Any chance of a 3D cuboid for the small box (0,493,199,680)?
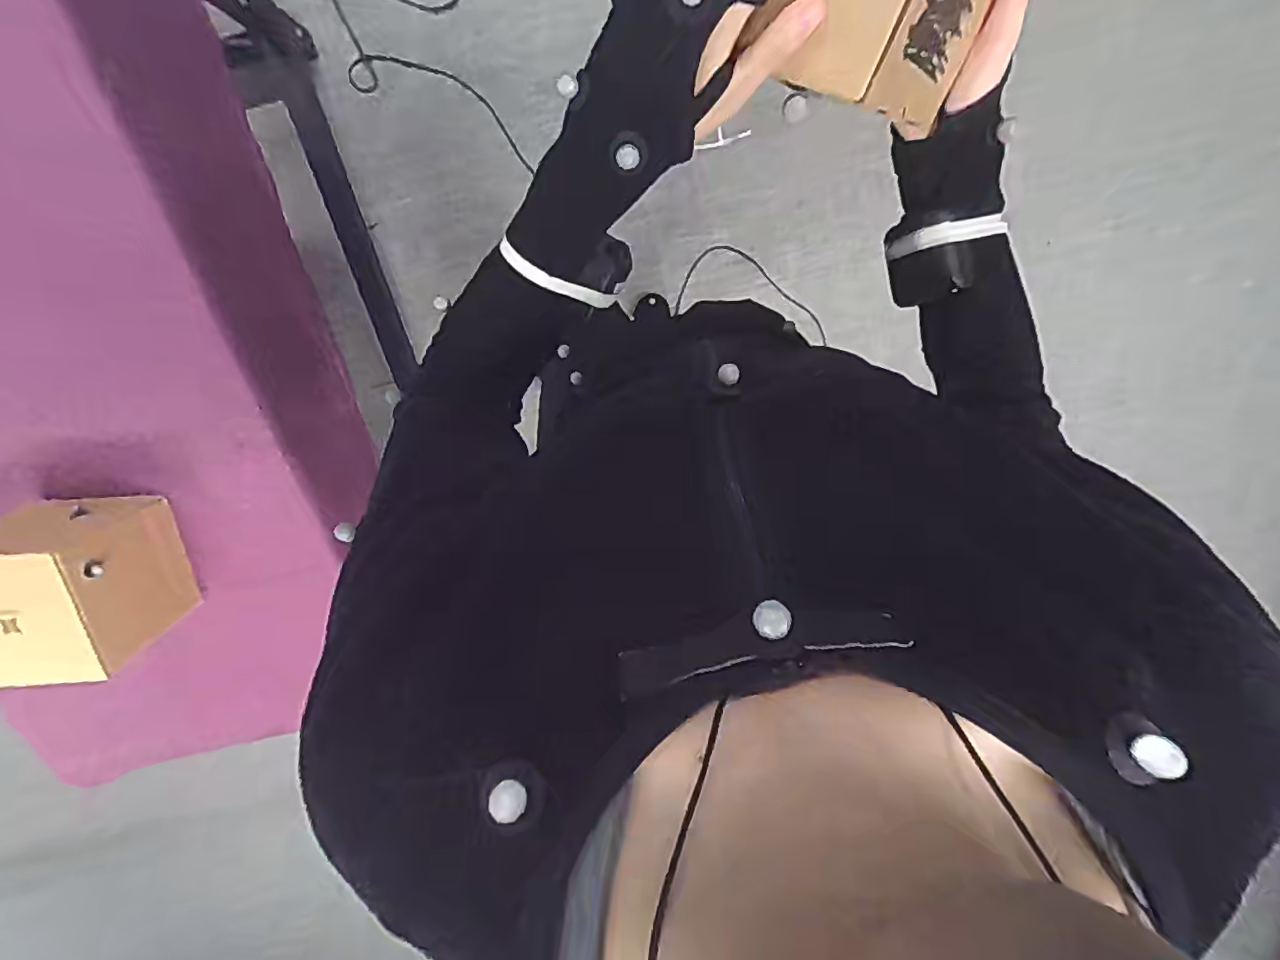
[{"bbox_3d":[-0.722,0.130,0.693,0.168,0.176,0.179,-3,109,-2],"label":"small box"}]
